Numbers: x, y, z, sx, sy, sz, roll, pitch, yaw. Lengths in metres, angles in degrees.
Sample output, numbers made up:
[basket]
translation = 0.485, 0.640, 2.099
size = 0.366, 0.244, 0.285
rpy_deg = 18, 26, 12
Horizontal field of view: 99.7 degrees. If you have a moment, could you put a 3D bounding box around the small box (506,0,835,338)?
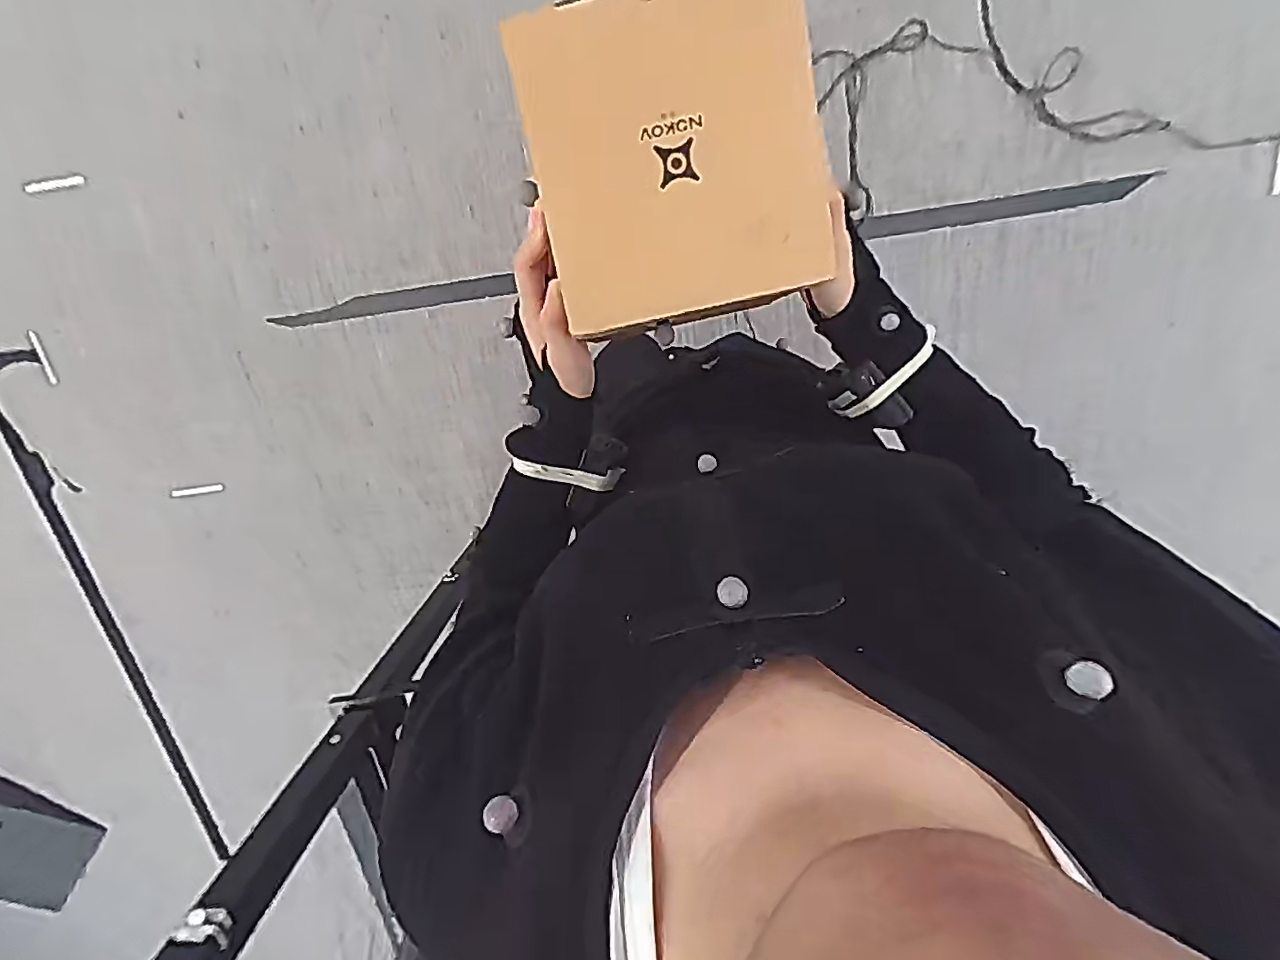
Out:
[small box]
translation = 0.023, -0.203, 0.387
size = 0.168, 0.176, 0.179
rpy_deg = -11, 102, 2
